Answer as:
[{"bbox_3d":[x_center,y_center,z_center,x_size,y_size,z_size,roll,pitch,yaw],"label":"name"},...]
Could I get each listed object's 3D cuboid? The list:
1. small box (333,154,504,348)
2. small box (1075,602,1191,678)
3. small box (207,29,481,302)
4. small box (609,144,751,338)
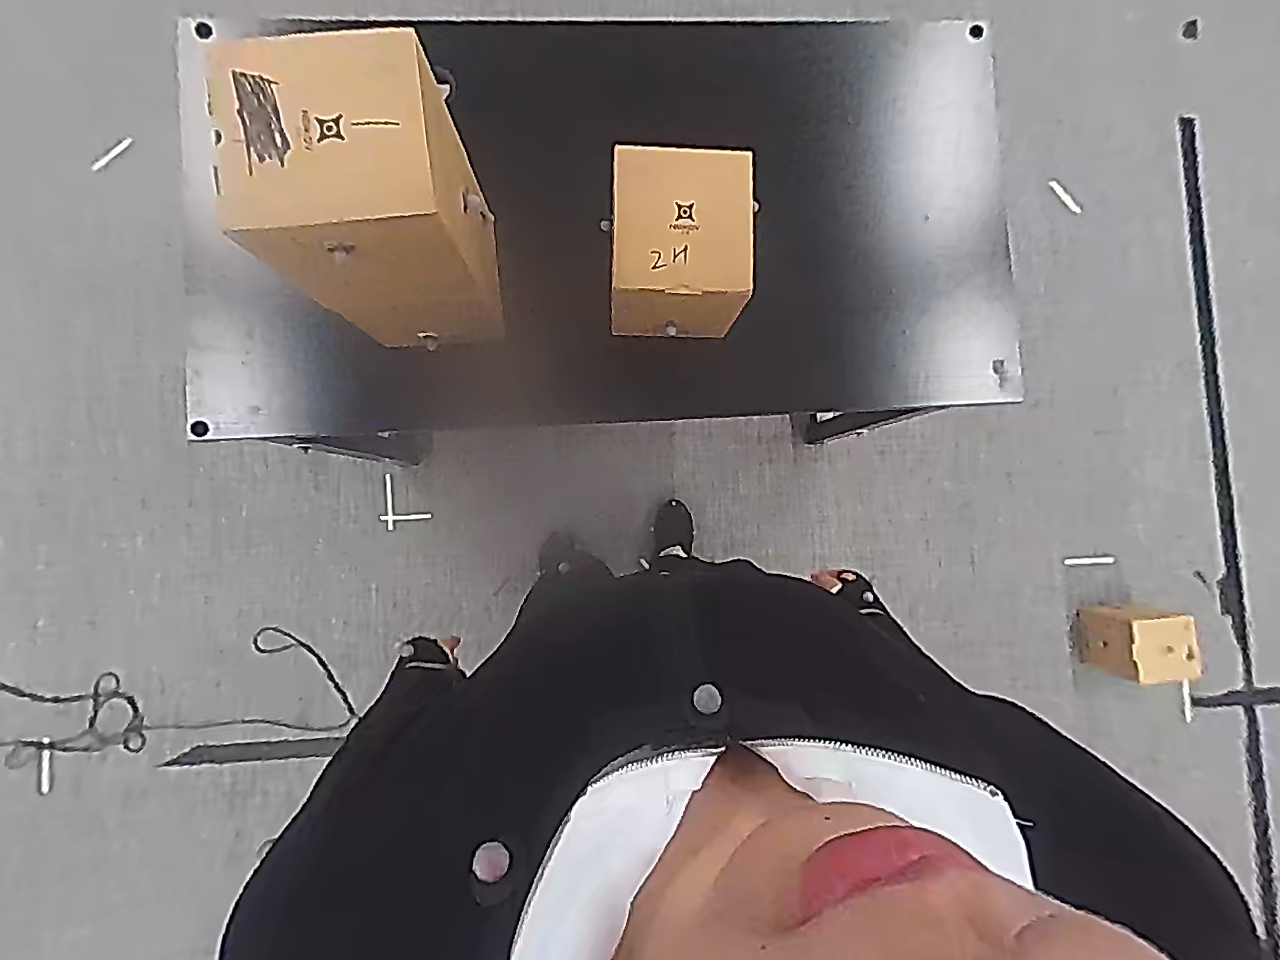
[{"bbox_3d":[-0.279,-0.284,0.695,0.168,0.176,0.179,-7,89,-3],"label":"small box"},{"bbox_3d":[1.354,0.438,1.501,0.179,0.176,0.168,-4,88,-3],"label":"small box"},{"bbox_3d":[-0.270,-0.287,0.530,0.179,0.176,0.168,-7,88,-4],"label":"small box"},{"bbox_3d":[0.044,-0.302,0.715,0.168,0.176,0.179,1,87,-3],"label":"small box"}]
